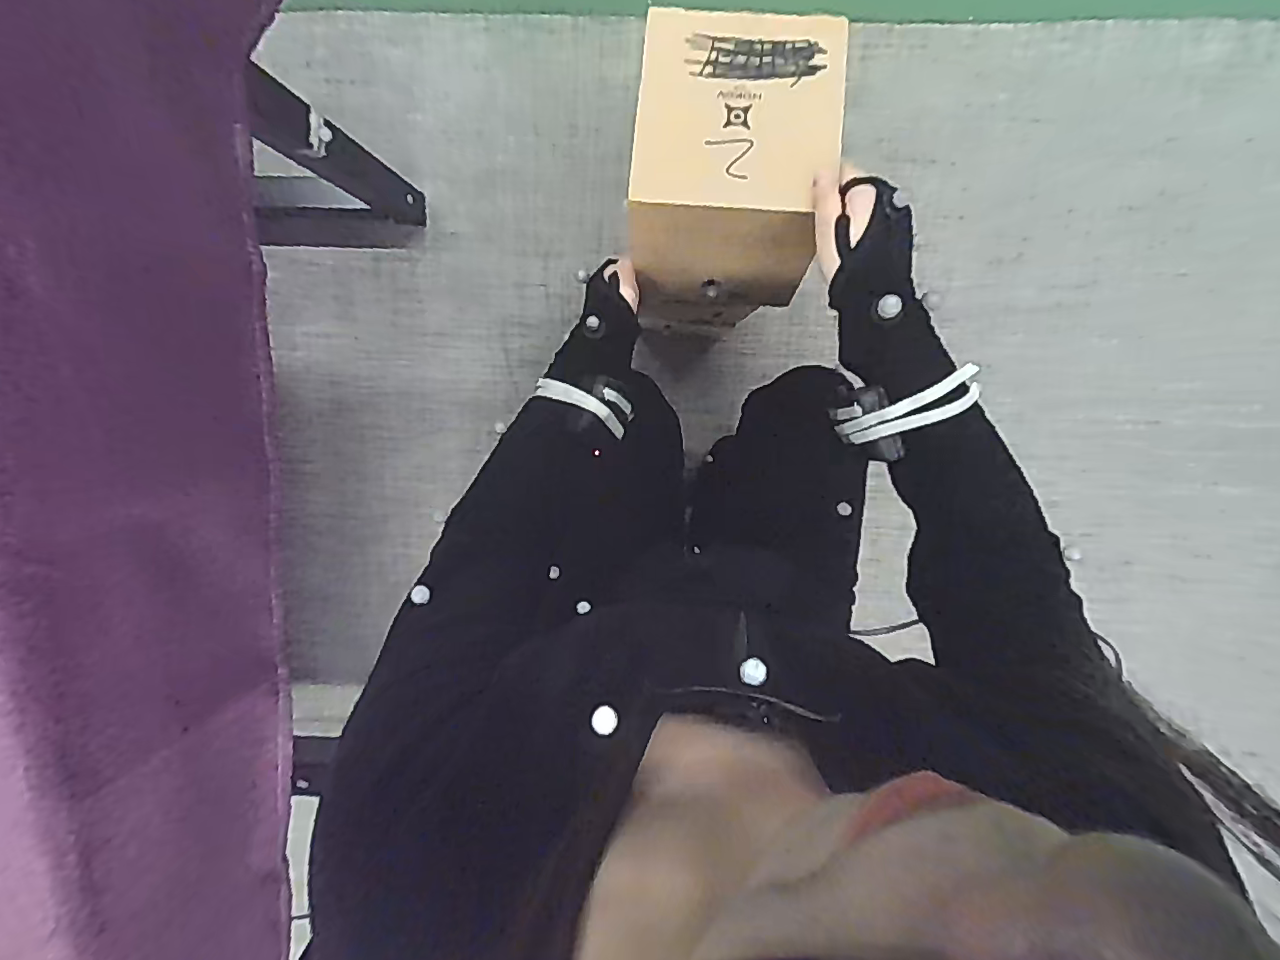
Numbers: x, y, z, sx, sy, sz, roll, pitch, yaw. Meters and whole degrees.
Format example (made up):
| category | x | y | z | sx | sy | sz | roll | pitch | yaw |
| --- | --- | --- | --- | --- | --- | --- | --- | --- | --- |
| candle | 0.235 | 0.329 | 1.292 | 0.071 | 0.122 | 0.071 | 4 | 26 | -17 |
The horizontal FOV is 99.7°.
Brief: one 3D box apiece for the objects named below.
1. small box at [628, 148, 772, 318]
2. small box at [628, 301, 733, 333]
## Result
| category | x | y | z | sx | sy | sz | roll | pitch | yaw |
| --- | --- | --- | --- | --- | --- | --- | --- | --- | --- |
| small box | 0.073 | -0.321 | 0.738 | 0.168 | 0.176 | 0.179 | 3 | 100 | 0 |
| small box | 0.075 | -0.344 | 0.900 | 0.168 | 0.176 | 0.179 | 6 | 101 | 0 |
